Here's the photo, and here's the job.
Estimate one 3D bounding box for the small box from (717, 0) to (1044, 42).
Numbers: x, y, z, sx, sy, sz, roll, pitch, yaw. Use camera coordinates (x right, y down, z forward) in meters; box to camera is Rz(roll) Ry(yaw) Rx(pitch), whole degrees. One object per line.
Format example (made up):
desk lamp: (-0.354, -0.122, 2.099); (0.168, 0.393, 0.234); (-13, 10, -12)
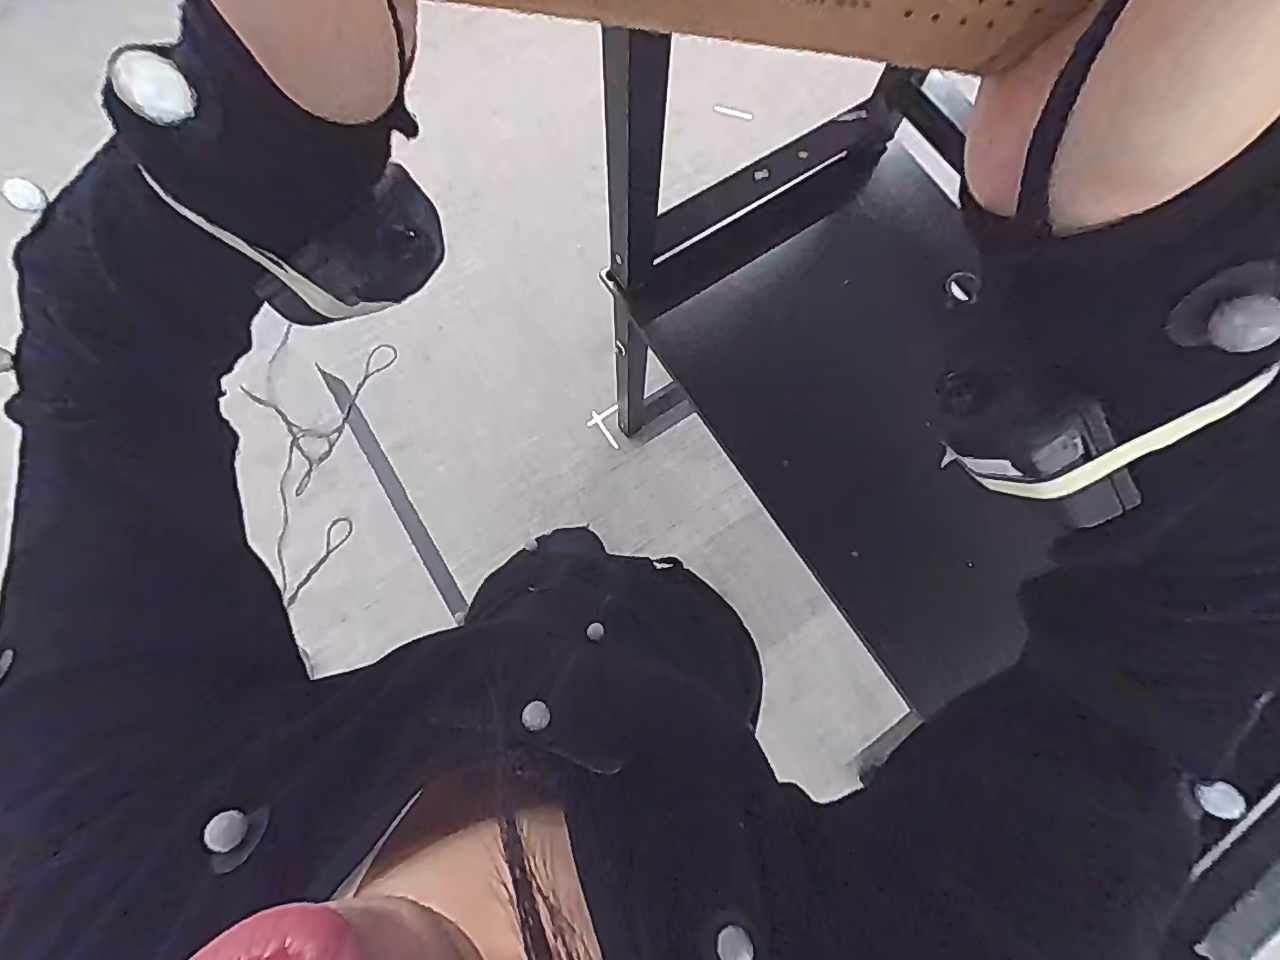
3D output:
small box: (0.026, -0.189, 0.038); (0.168, 0.176, 0.179); (6, 98, -1)
